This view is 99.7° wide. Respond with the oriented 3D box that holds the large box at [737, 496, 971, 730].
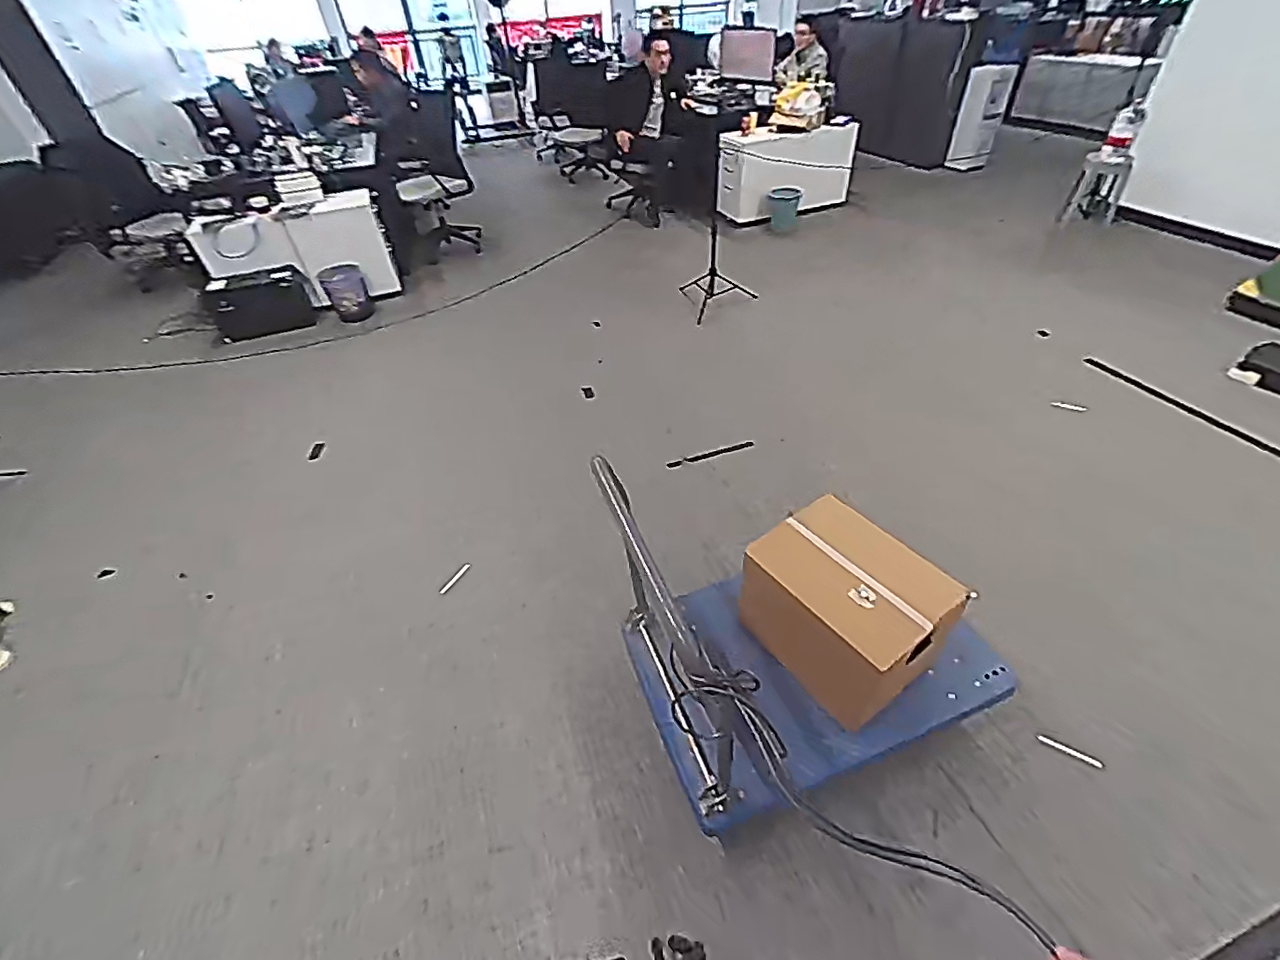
[{"bbox_3d":[0.497,0.318,1.347,0.320,0.320,0.408,-29,49,-22],"label":"large box"}]
